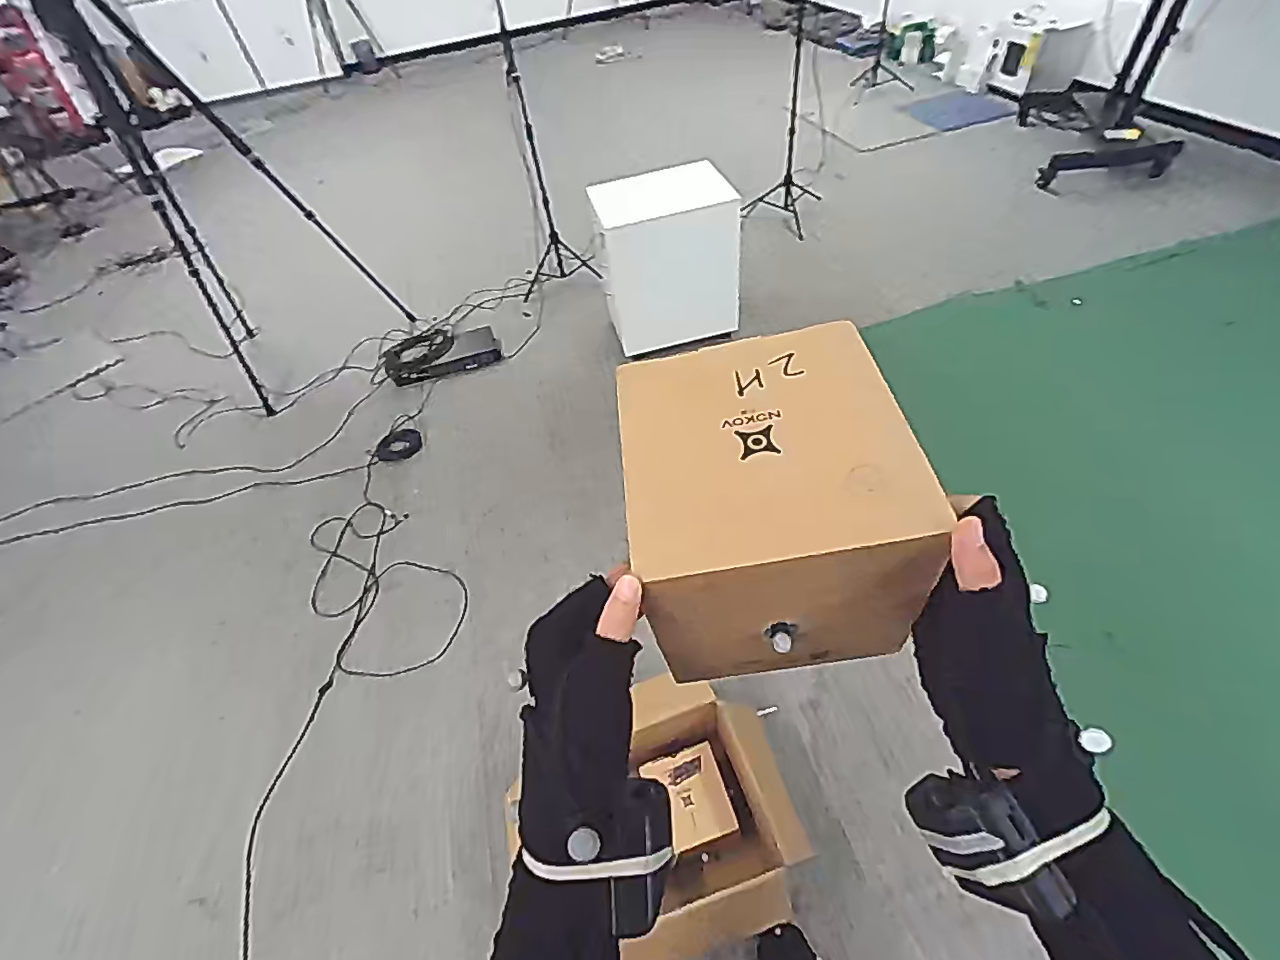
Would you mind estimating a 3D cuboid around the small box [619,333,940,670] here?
[{"bbox_3d":[0.084,0.026,0.395,0.168,0.176,0.179,-10,51,5],"label":"small box"}]
